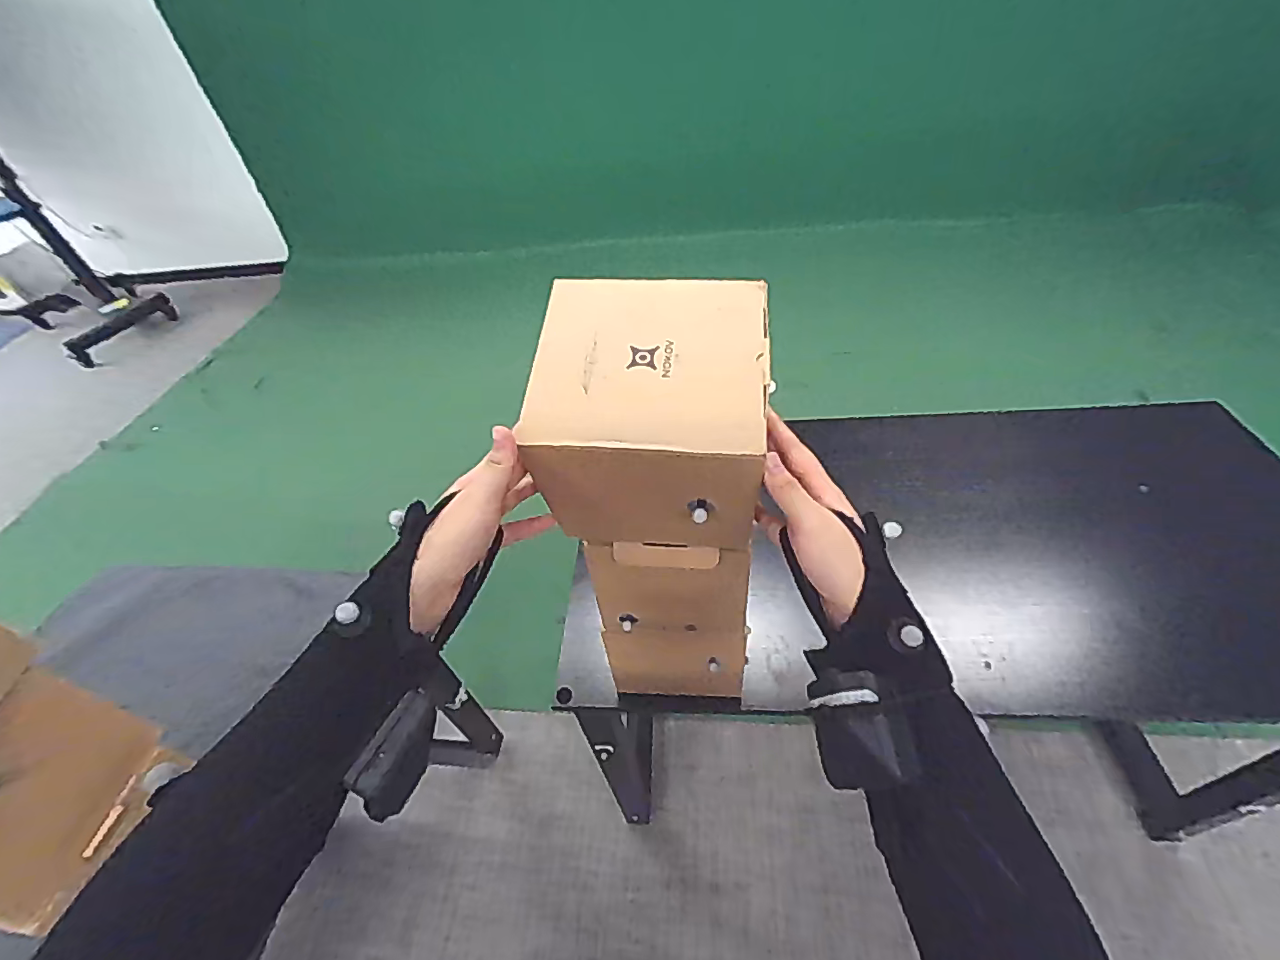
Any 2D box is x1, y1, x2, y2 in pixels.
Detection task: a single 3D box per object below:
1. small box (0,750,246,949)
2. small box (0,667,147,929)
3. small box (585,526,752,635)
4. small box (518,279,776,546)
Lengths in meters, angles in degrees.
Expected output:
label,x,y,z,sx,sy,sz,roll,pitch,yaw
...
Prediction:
label,x,y,z,sx,sy,sz,roll,pitch,yaw
small box,-0.609,0.411,0.613,0.179,0.176,0.168,0,46,10
small box,-0.630,0.291,0.505,0.168,0.176,0.179,-1,46,9
small box,0.043,0.062,0.629,0.168,0.176,0.179,2,45,8
small box,0.017,-0.049,0.467,0.179,0.176,0.168,2,62,8
